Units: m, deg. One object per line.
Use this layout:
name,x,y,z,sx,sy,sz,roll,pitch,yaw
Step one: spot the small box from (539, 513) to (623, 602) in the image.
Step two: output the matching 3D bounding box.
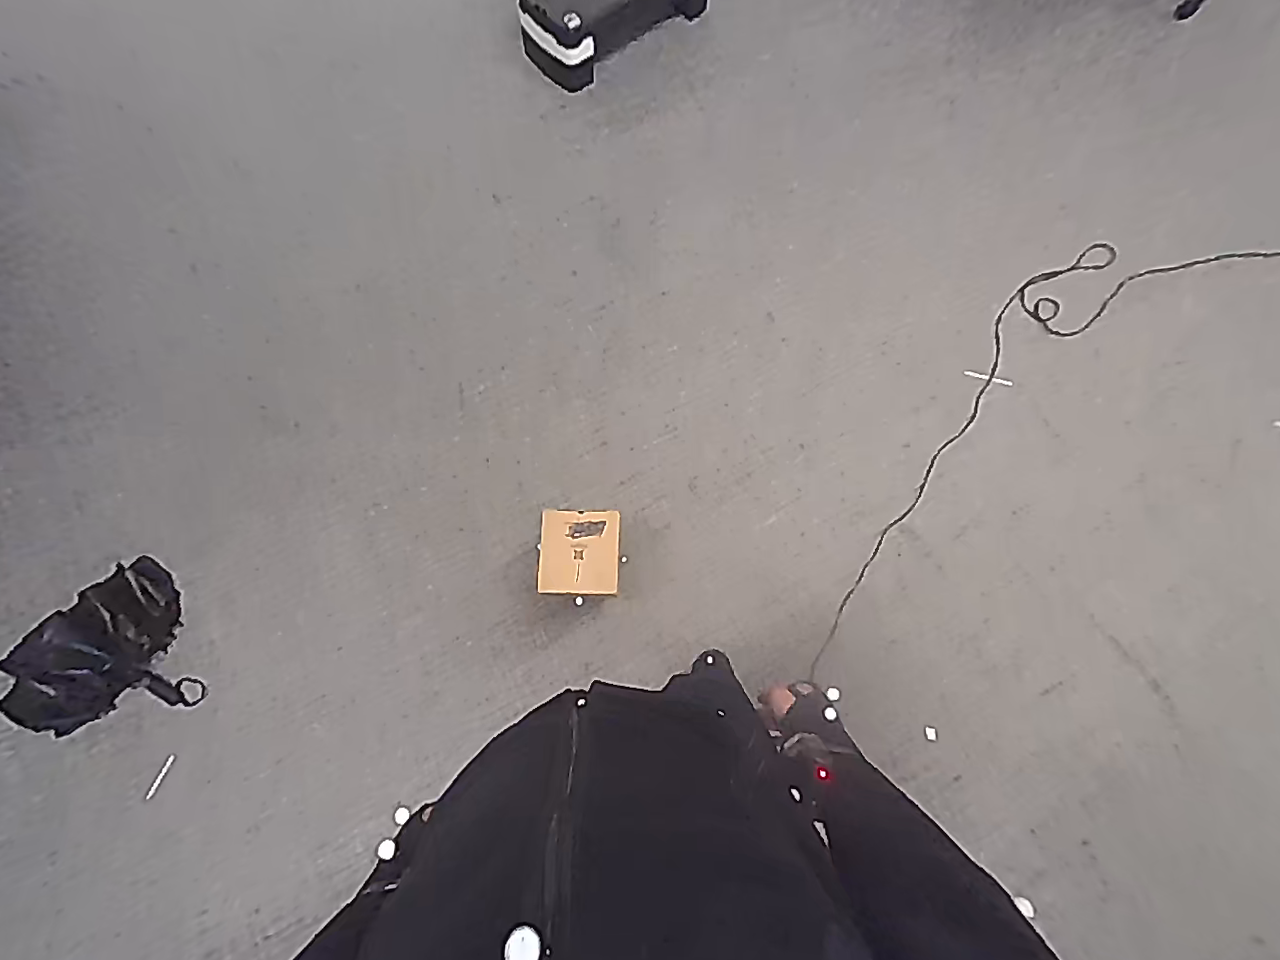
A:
small box,-0.125,0.177,1.206,0.168,0.176,0.179,1,75,0
